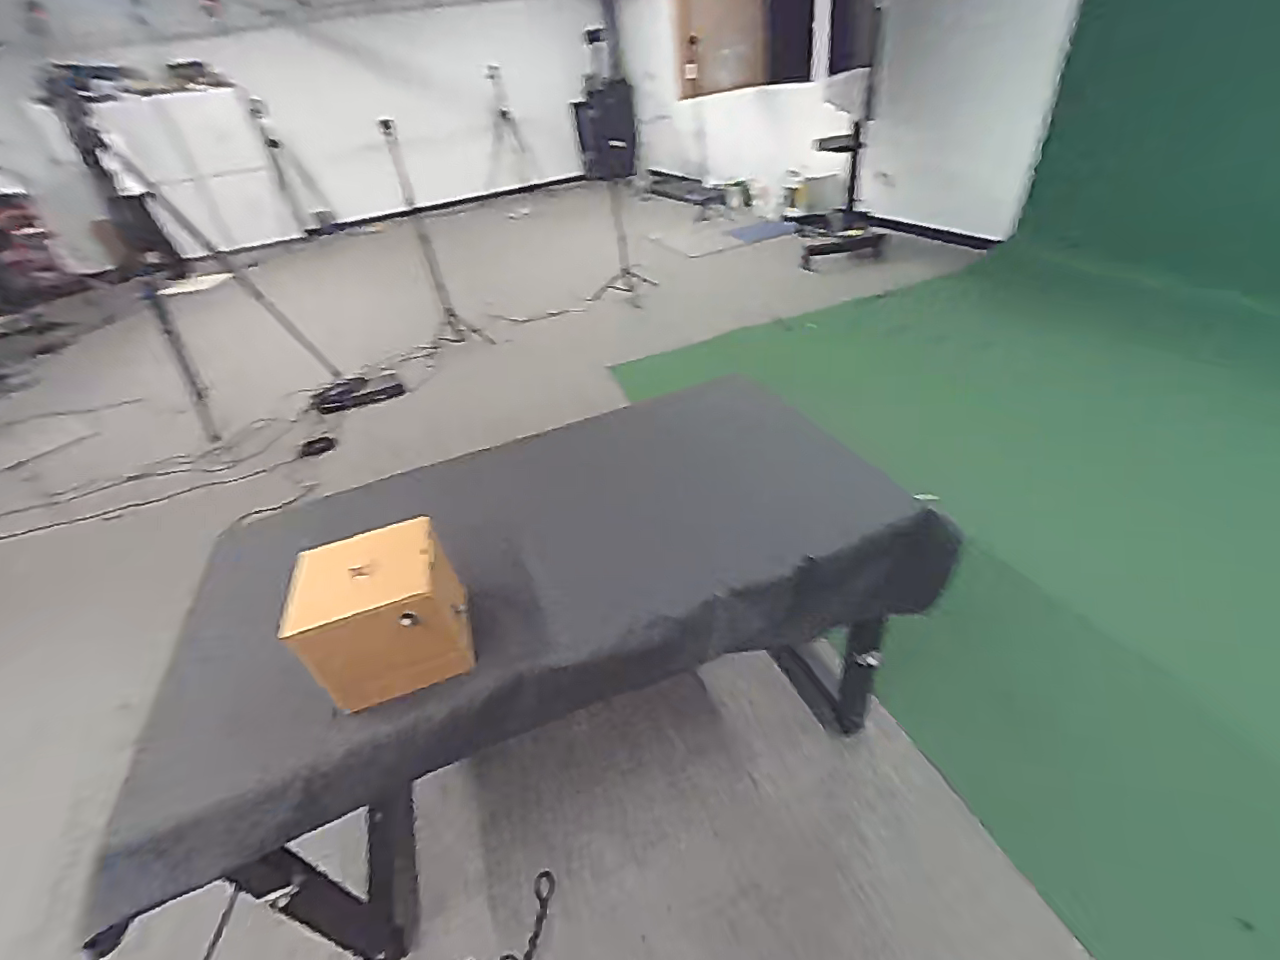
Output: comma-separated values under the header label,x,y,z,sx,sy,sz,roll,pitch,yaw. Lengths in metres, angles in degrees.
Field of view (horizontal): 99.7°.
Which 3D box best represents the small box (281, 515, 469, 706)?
label,x,y,z,sx,sy,sz,roll,pitch,yaw
small box,-0.359,0.183,0.762,0.179,0.176,0.168,-18,36,-12
